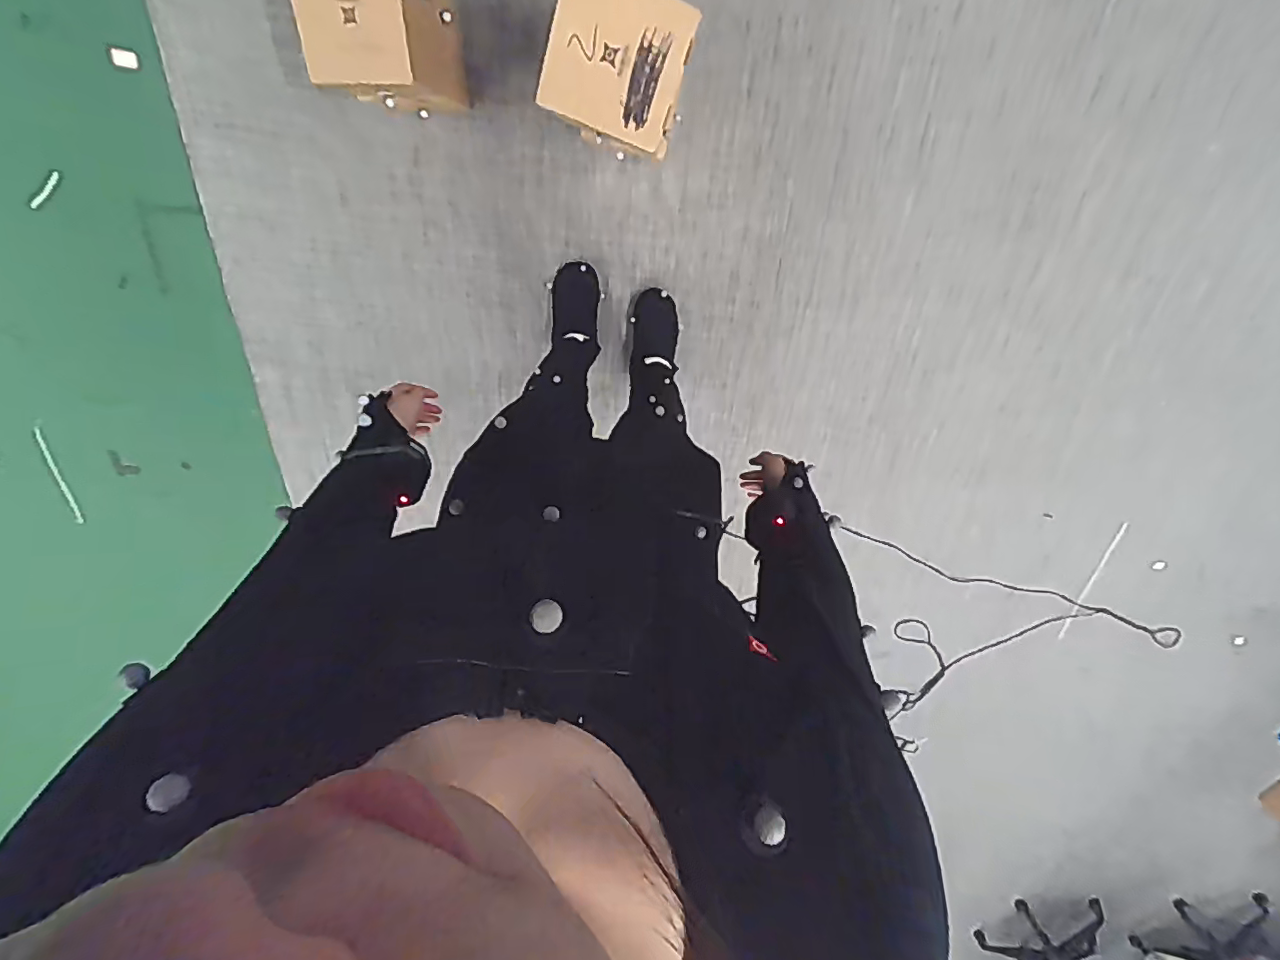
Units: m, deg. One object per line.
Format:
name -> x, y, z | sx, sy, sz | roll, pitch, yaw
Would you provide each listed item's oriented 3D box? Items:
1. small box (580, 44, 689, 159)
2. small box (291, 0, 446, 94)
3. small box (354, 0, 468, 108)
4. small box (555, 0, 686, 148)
small box -> -0.014, -0.742, 1.046 | 0.168, 0.176, 0.179 | 13, 119, -6
small box -> -0.428, -0.736, 0.863 | 0.168, 0.176, 0.179 | 1, 120, 1
small box -> -0.434, -0.811, 1.007 | 0.168, 0.176, 0.179 | 0, 119, 0
small box -> -0.031, -0.674, 0.897 | 0.168, 0.176, 0.179 | 16, 119, -8
